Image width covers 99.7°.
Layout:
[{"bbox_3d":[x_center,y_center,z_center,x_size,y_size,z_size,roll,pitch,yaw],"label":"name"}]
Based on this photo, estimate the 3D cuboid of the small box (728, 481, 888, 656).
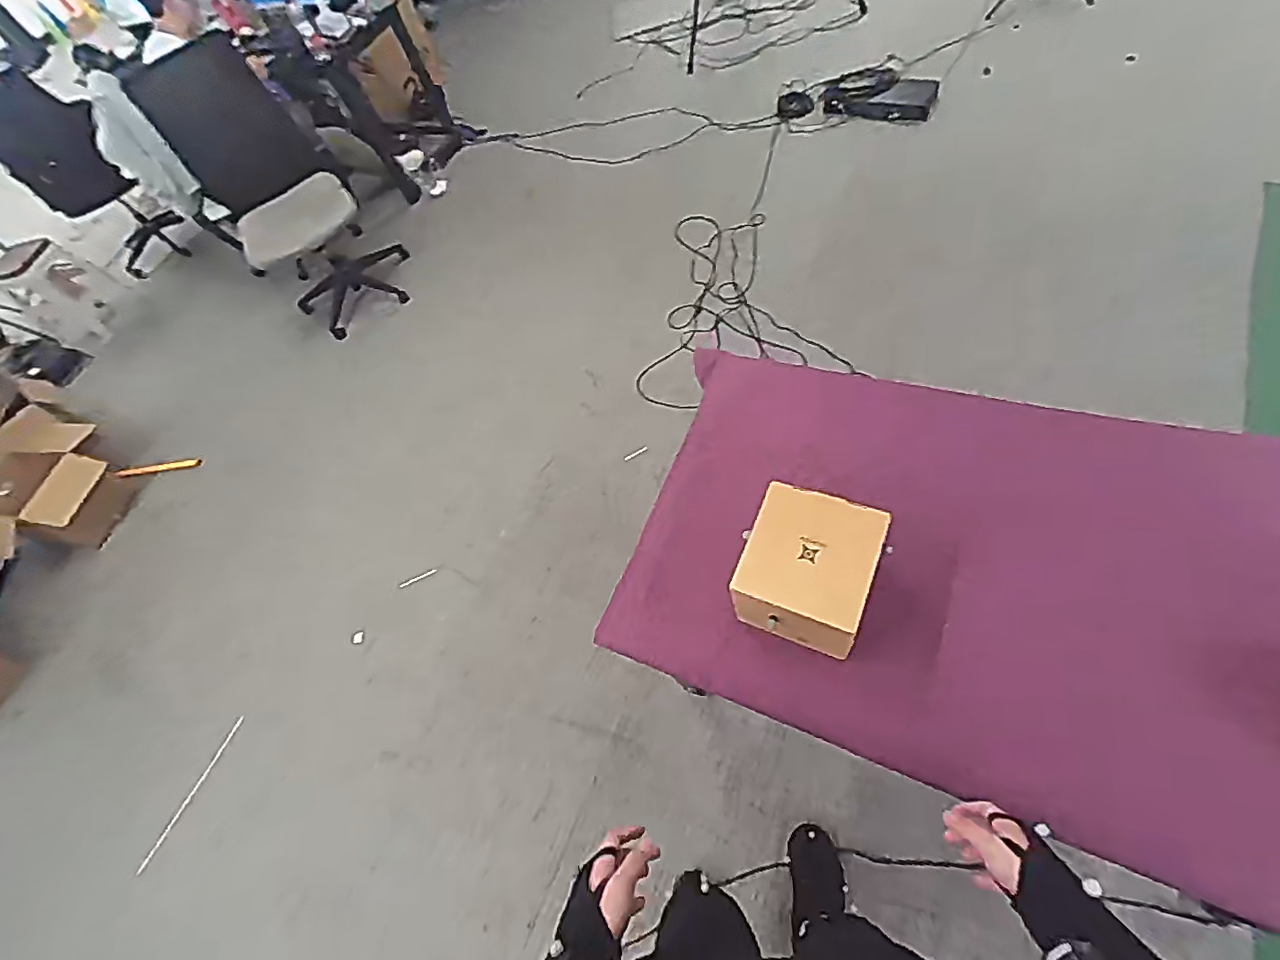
[{"bbox_3d":[0.242,0.132,0.781,0.168,0.176,0.179,16,66,24],"label":"small box"}]
